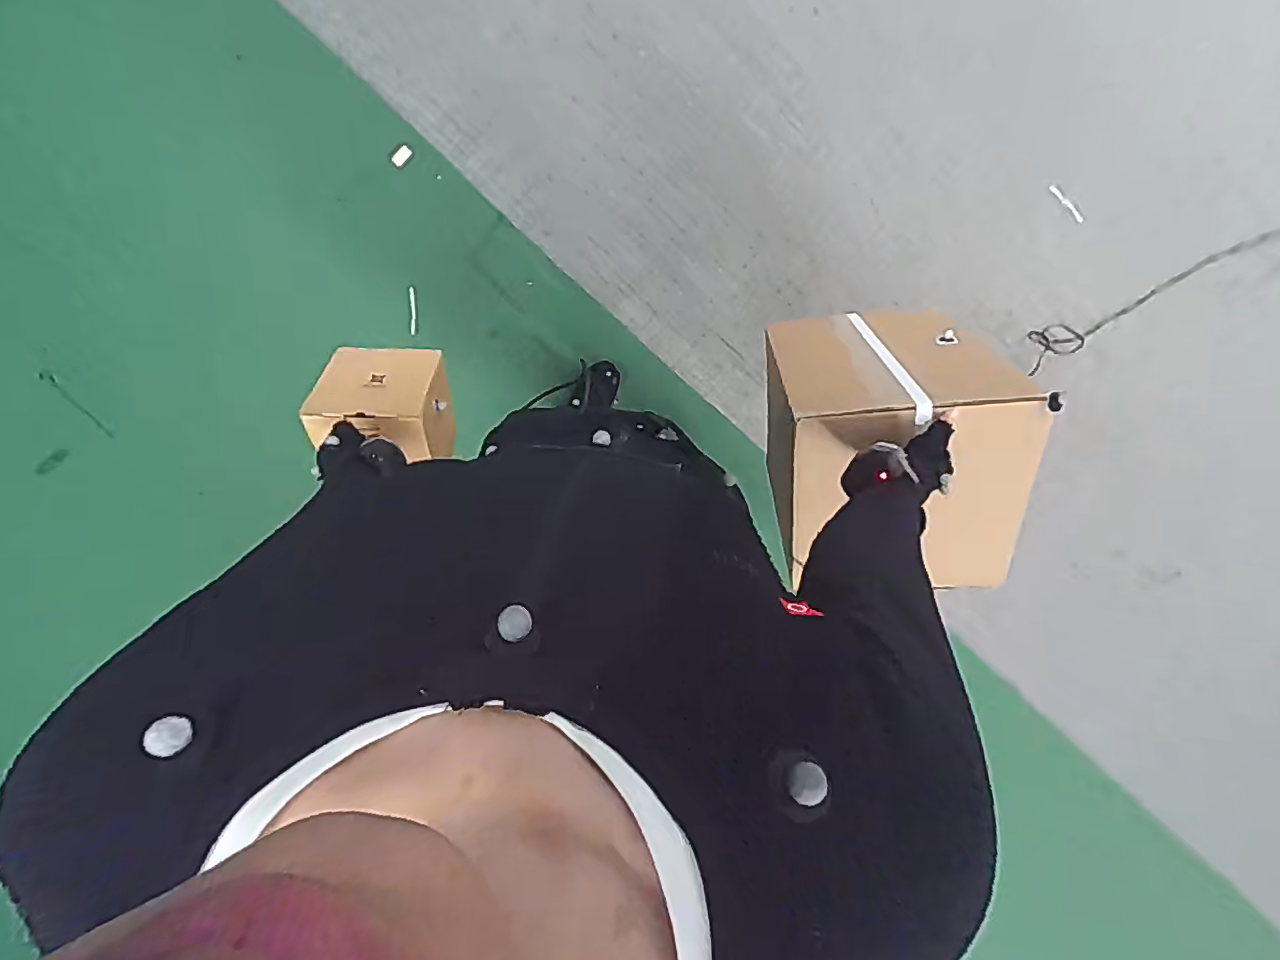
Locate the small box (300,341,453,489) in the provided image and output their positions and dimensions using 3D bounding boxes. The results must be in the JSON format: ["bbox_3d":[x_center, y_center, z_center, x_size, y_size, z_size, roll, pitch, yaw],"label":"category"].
[{"bbox_3d":[-0.413,-0.106,0.886,0.168,0.179,0.176,1,137,-5],"label":"small box"}]
